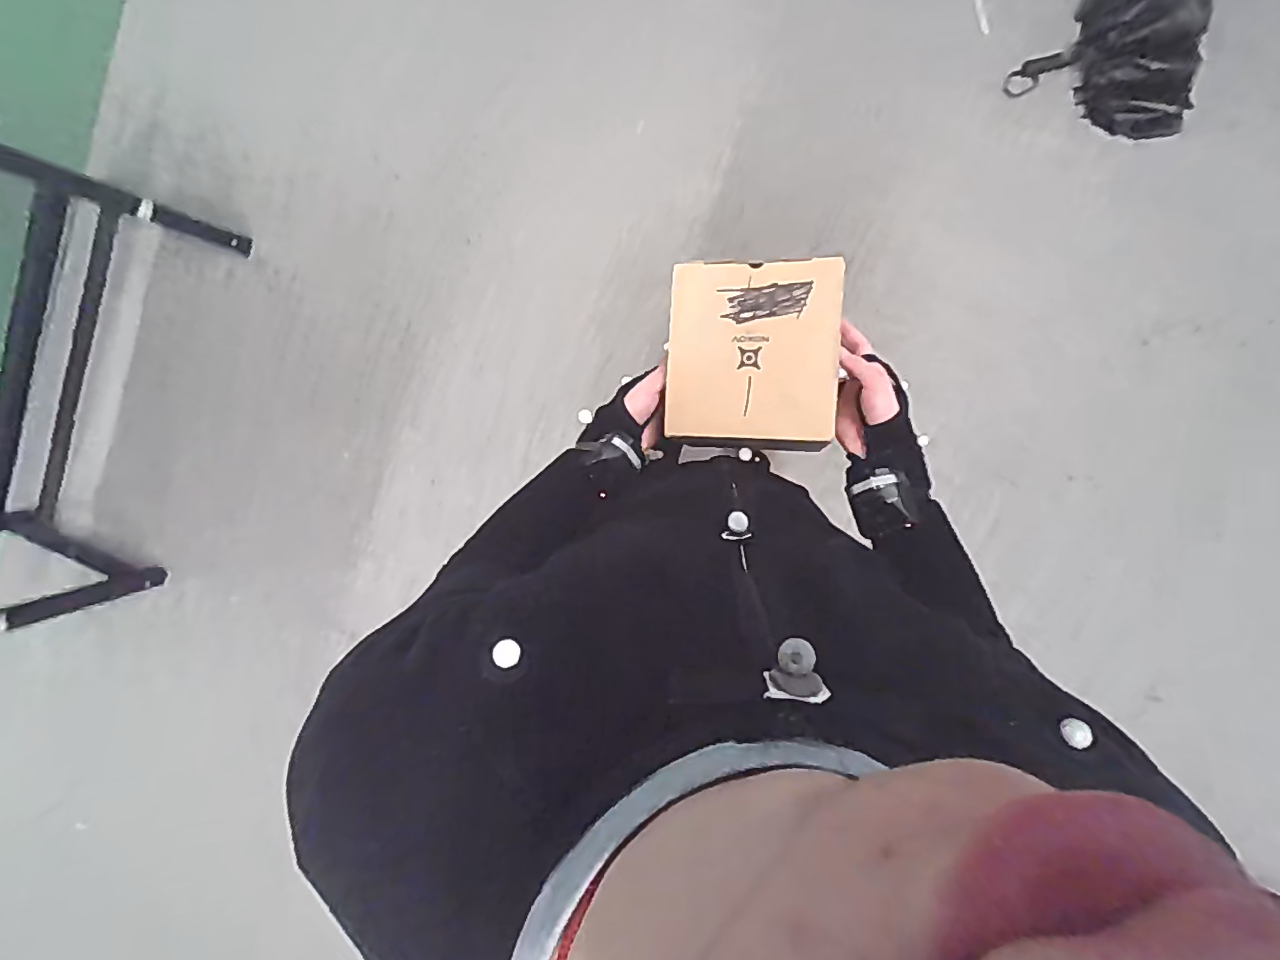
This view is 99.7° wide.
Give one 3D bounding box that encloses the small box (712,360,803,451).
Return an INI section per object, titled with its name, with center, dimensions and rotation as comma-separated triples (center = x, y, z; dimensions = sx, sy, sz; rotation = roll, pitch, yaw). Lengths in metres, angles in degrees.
[small box]
center = 0.306, -0.197, 1.450
dimensions = 0.168, 0.176, 0.179
rotation = 35, 100, 4
